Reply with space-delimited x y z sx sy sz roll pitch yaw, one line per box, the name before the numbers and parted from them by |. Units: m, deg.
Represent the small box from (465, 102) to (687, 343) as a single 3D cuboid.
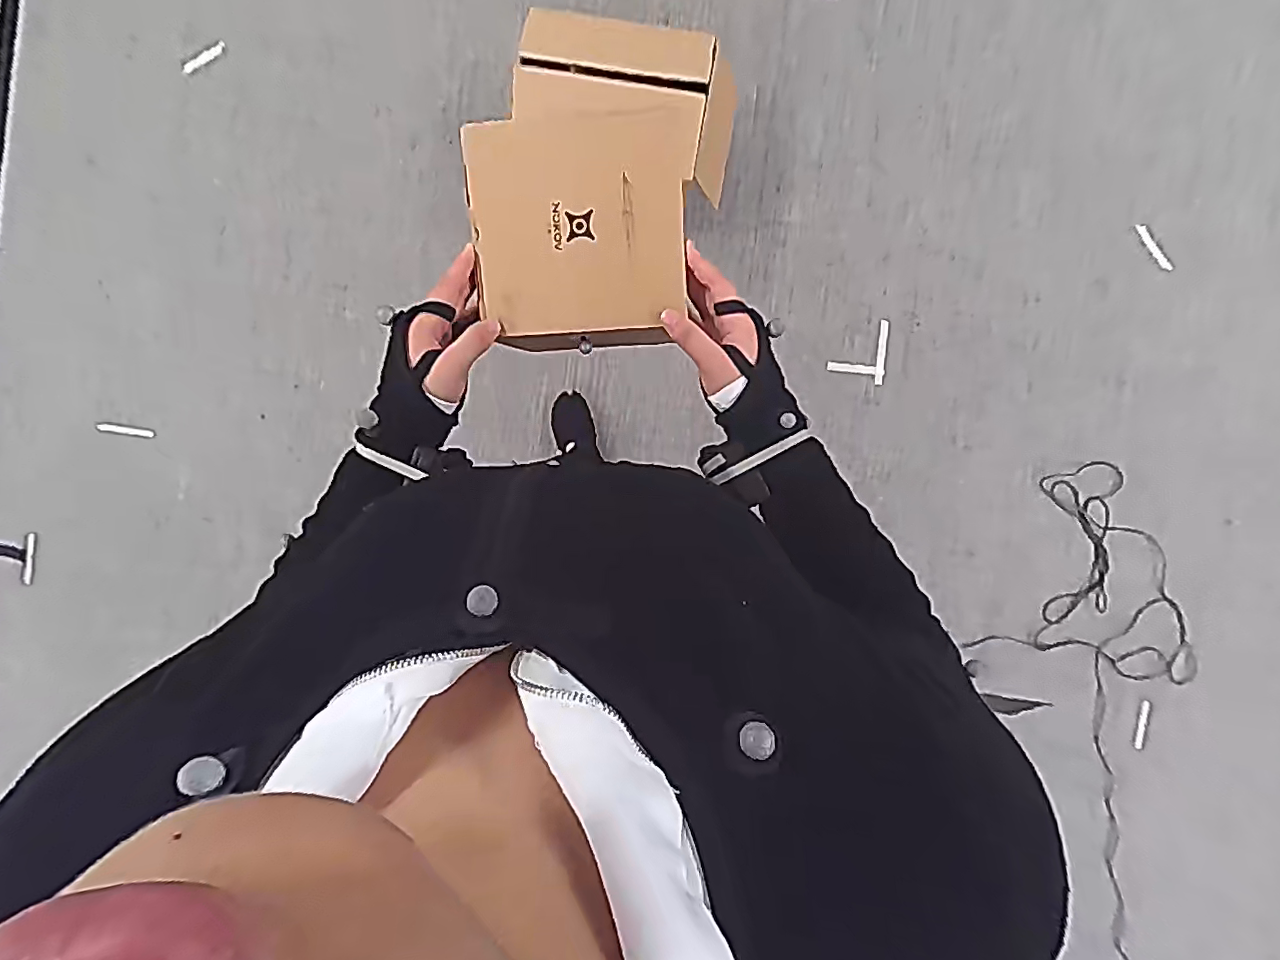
small box | -0.047 -0.226 0.521 0.179 0.176 0.168 -3 100 3
